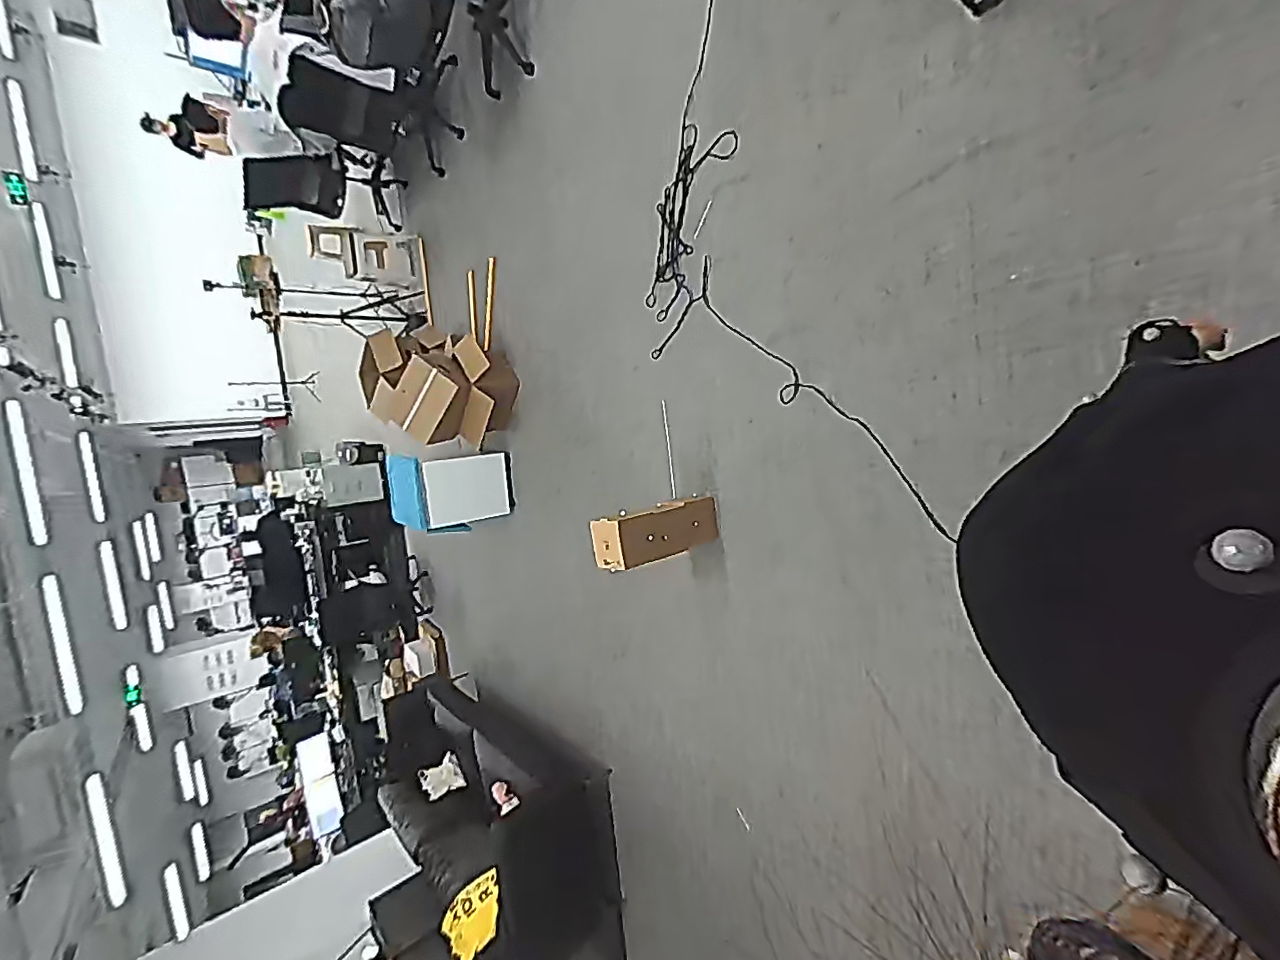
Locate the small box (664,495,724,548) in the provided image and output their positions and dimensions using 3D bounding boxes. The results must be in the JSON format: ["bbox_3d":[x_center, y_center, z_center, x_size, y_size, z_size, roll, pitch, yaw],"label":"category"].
[{"bbox_3d":[0.218,0.161,2.150,0.168,0.176,0.179,-2,96,51],"label":"small box"}]

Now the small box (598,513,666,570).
[{"bbox_3d":[-0.026,0.214,1.937,0.168,0.176,0.179,-5,94,52],"label":"small box"}]

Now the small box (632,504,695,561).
[{"bbox_3d":[0.092,0.195,2.050,0.168,0.176,0.179,-1,97,51],"label":"small box"}]
